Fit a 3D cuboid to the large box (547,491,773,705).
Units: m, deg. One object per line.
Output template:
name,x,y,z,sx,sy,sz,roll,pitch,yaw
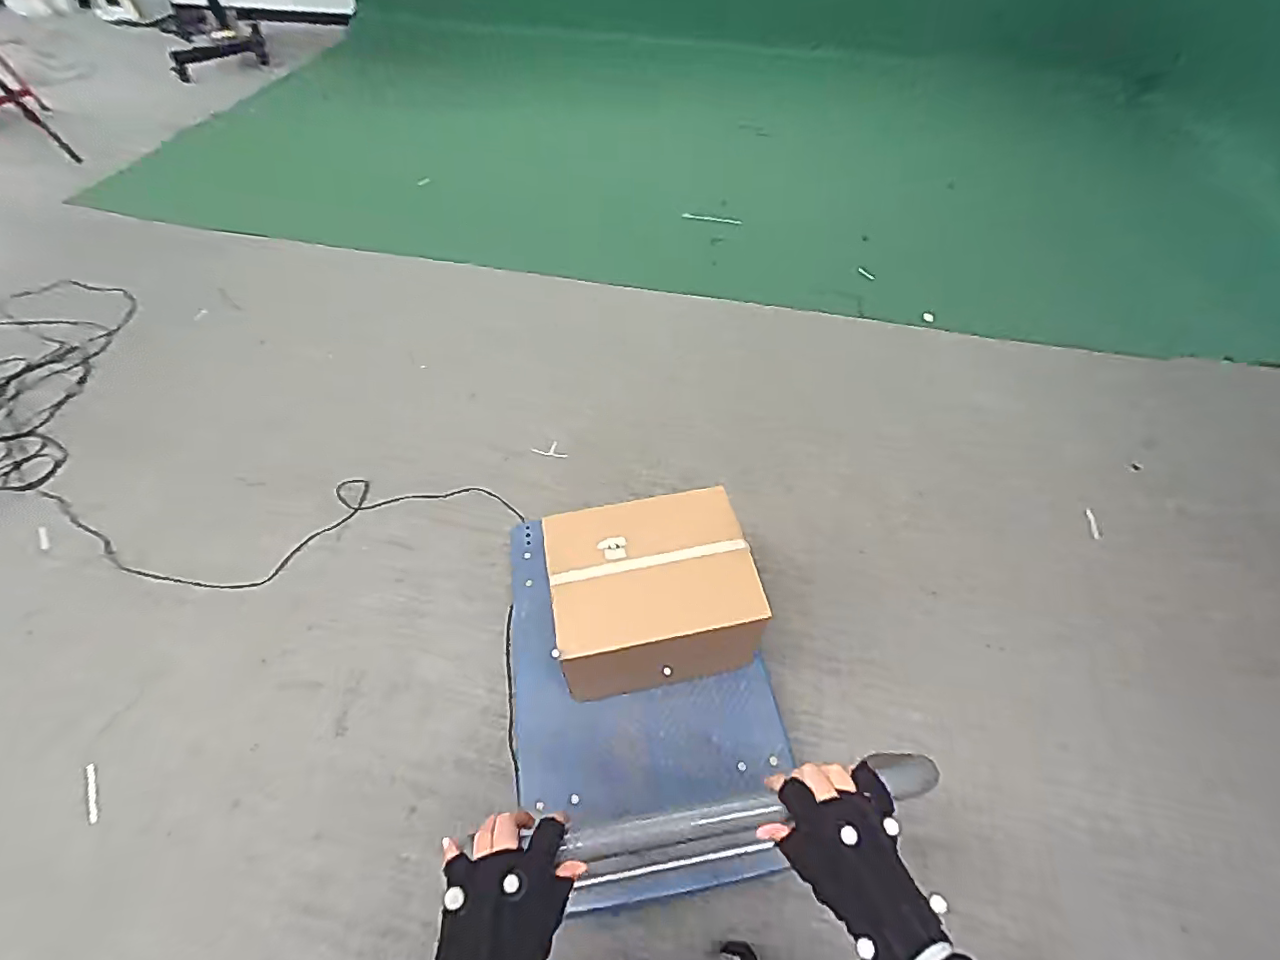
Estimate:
large box,0.032,0.269,1.205,0.408,0.320,0.320,-11,54,-6
